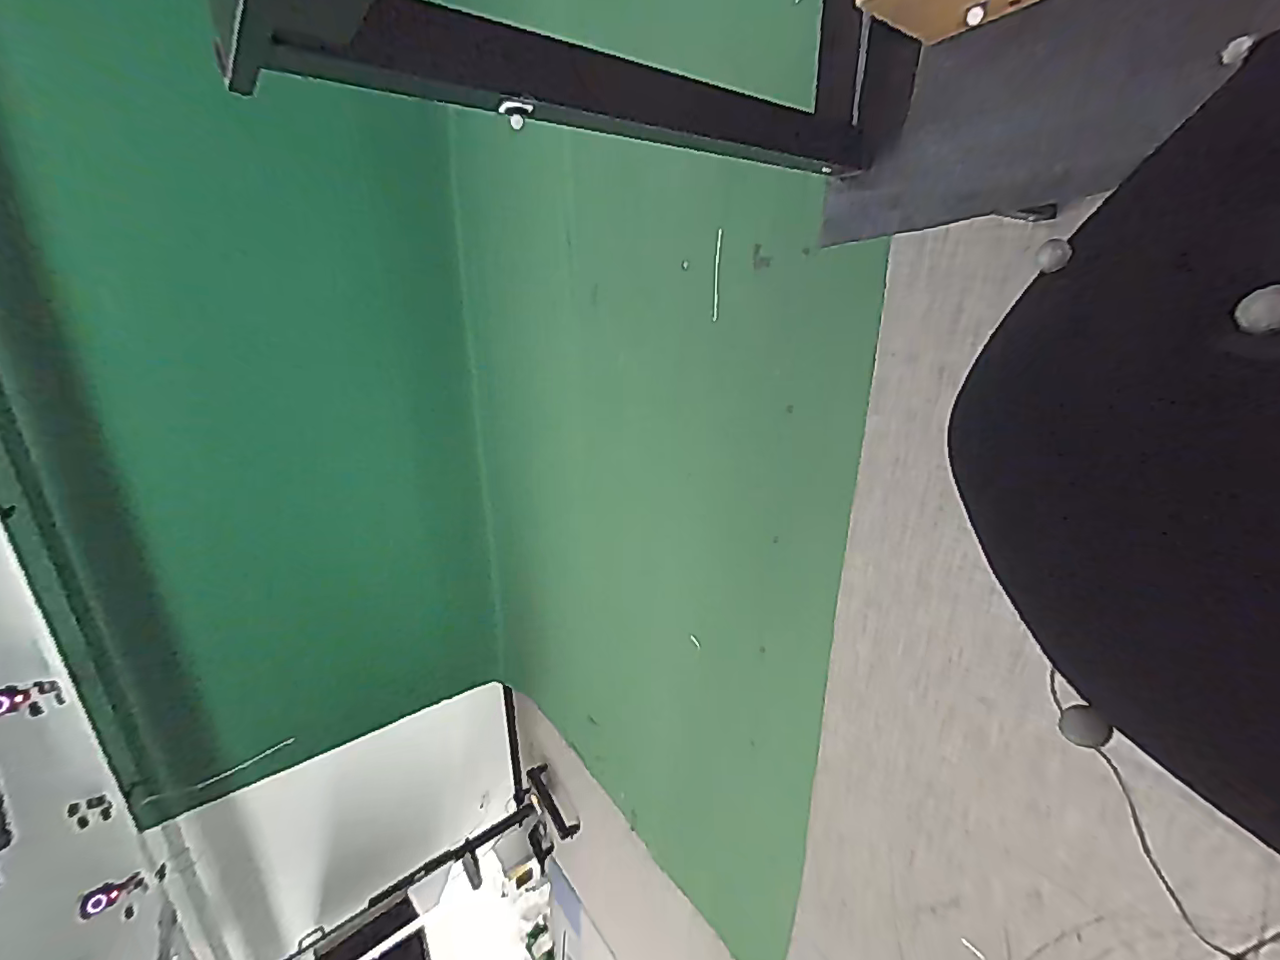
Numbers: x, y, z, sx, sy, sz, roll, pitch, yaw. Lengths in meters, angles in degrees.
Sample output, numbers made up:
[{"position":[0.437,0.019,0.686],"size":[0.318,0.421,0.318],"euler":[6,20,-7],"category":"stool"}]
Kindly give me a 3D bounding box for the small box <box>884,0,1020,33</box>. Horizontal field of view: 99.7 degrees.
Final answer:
[{"position":[0.338,-0.599,0.540],"size":[0.168,0.176,0.179],"euler":[20,118,50],"category":"small box"}]
